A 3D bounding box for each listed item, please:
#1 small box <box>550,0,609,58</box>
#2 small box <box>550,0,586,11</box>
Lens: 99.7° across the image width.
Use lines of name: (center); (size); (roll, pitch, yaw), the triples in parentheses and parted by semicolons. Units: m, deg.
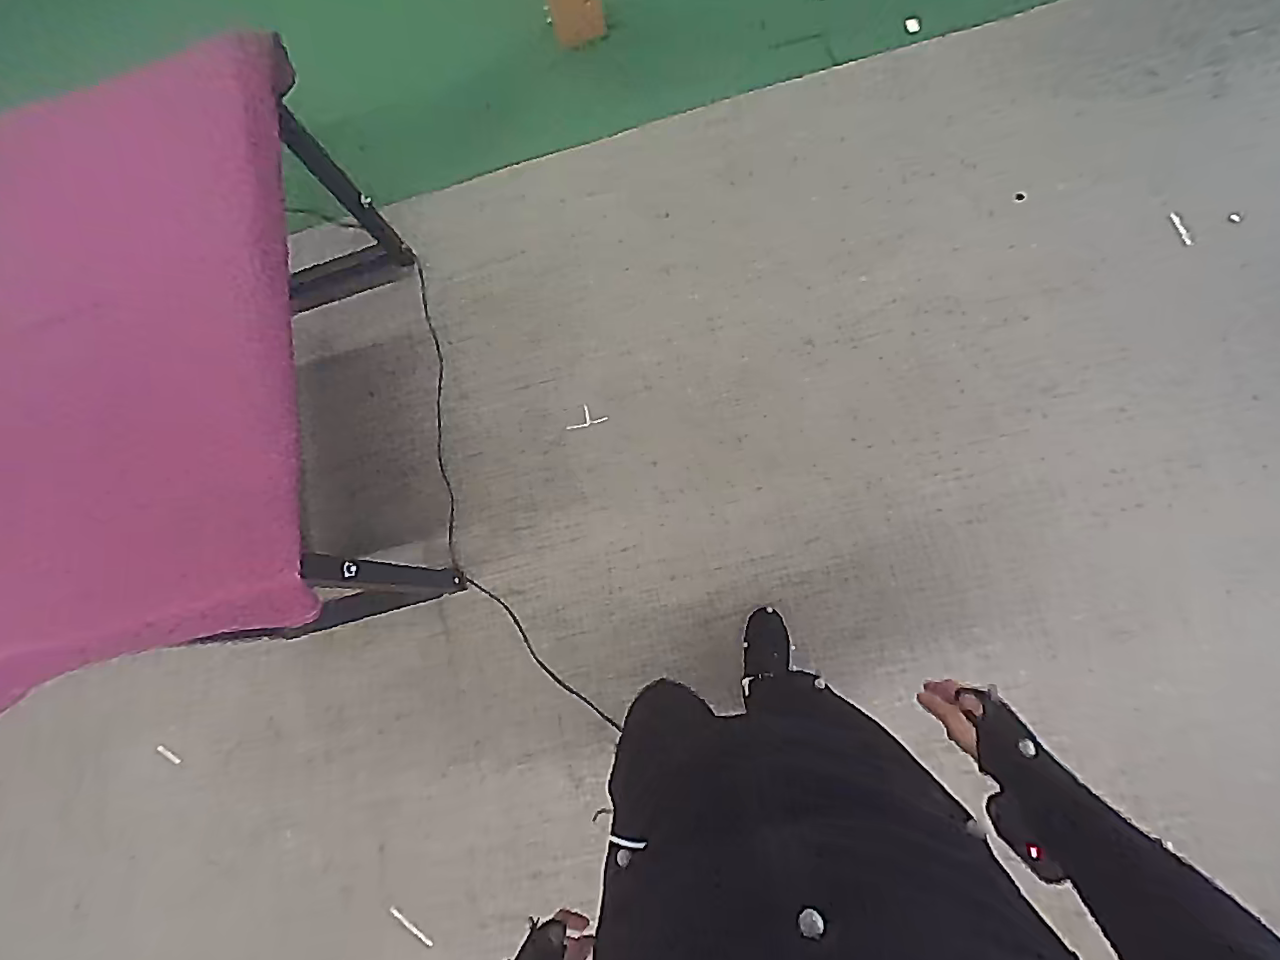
small box: (-0.215, -1.662, 1.922); (0.179, 0.176, 0.168); (-18, 74, 4)
small box: (-0.239, -1.699, 1.766); (0.179, 0.176, 0.168); (-16, 75, 5)
